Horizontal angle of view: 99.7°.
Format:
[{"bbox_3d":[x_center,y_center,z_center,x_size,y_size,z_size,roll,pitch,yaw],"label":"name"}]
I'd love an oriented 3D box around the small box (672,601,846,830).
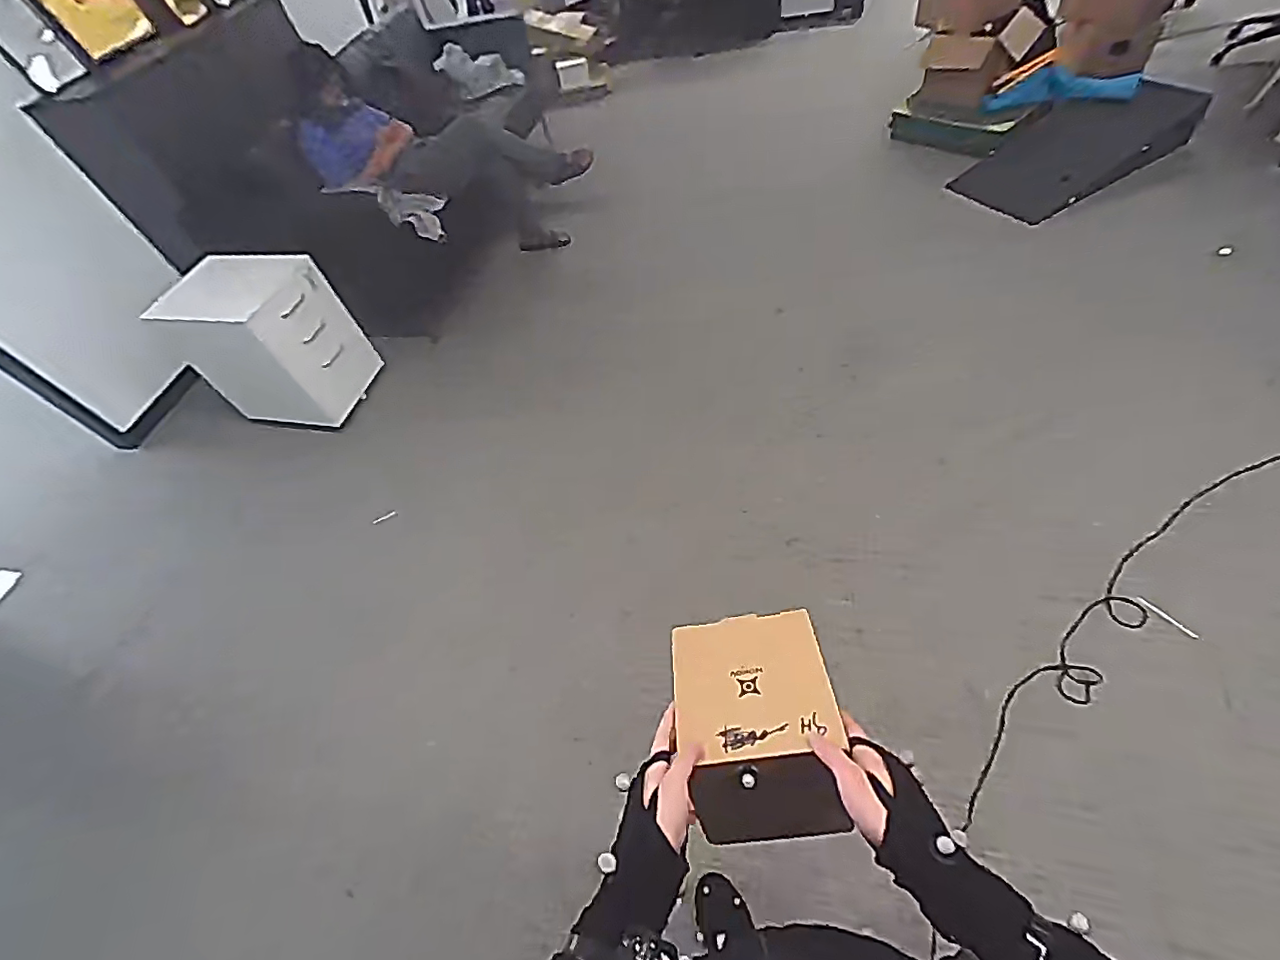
[{"bbox_3d":[0.133,0.272,0.632,0.168,0.176,0.179,-11,32,9],"label":"small box"}]
